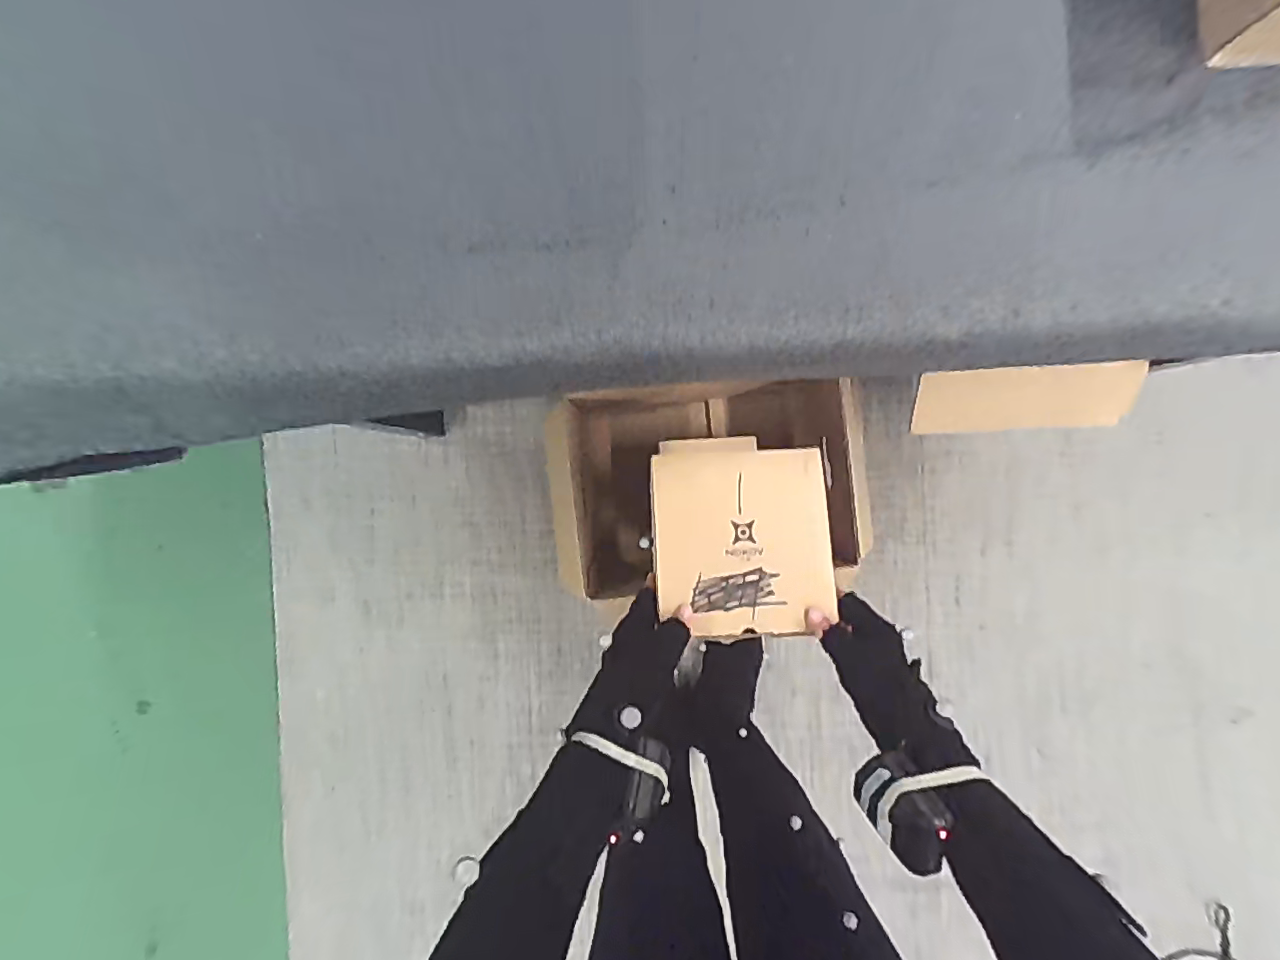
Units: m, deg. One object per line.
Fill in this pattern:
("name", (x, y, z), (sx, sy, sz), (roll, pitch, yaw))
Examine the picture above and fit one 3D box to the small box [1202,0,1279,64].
("small box", (0.452, -0.364, 0.279), (0.168, 0.176, 0.179), (-2, 91, 1))
